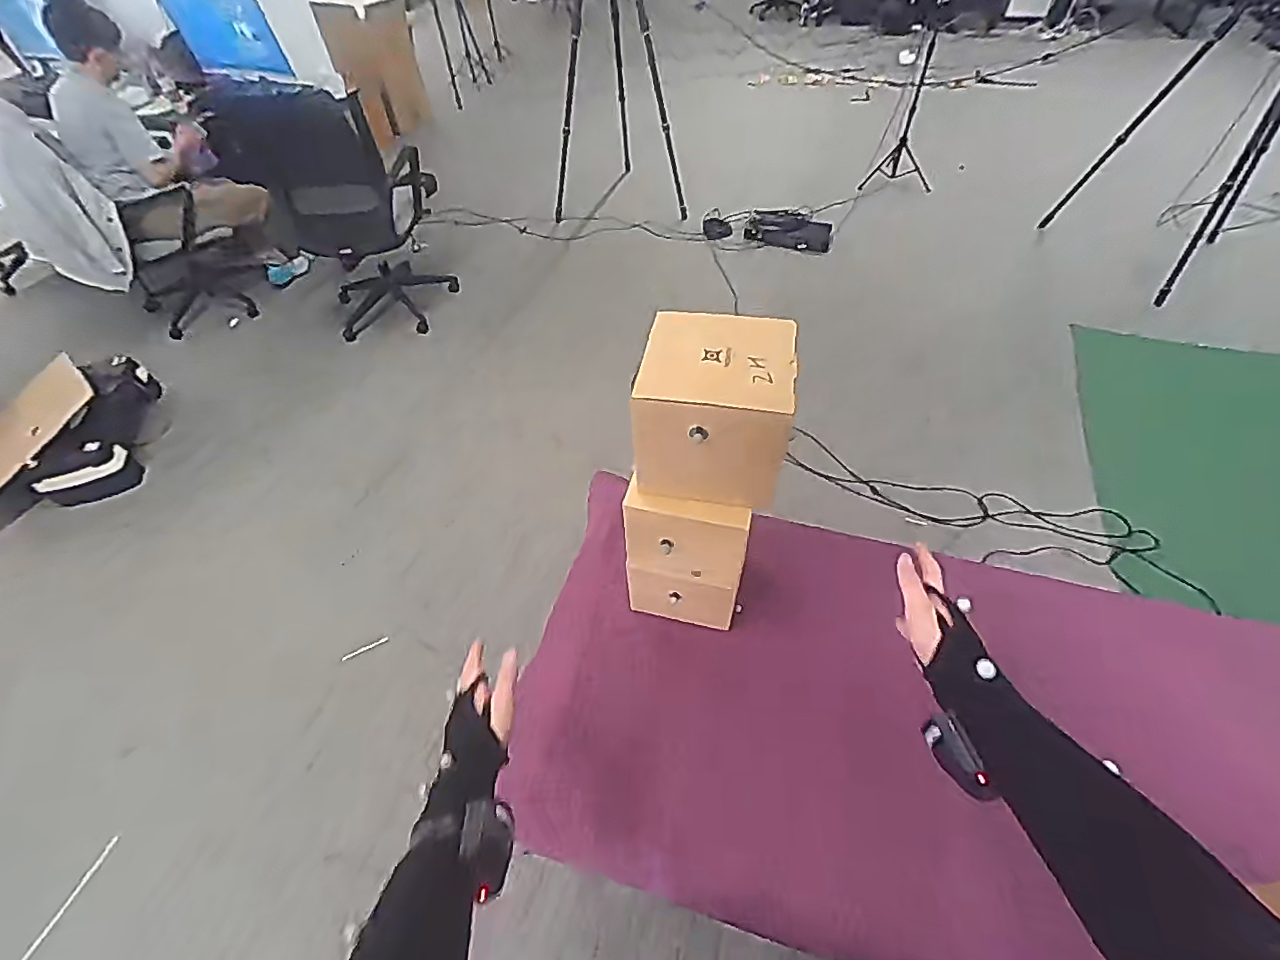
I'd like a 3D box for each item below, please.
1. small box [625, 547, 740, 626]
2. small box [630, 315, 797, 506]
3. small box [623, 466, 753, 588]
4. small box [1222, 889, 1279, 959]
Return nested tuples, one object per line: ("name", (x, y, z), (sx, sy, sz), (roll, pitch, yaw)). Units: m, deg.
("small box", (0.084, 0.133, 0.925), (0.179, 0.176, 0.168), (10, 52, 11))
("small box", (0.093, -0.085, 0.682), (0.179, 0.176, 0.168), (8, 52, 9))
("small box", (0.081, 0.036, 0.796), (0.168, 0.176, 0.179), (10, 52, 11))
("small box", (0.780, 0.544, 0.553), (0.179, 0.176, 0.168), (16, 52, 15))
